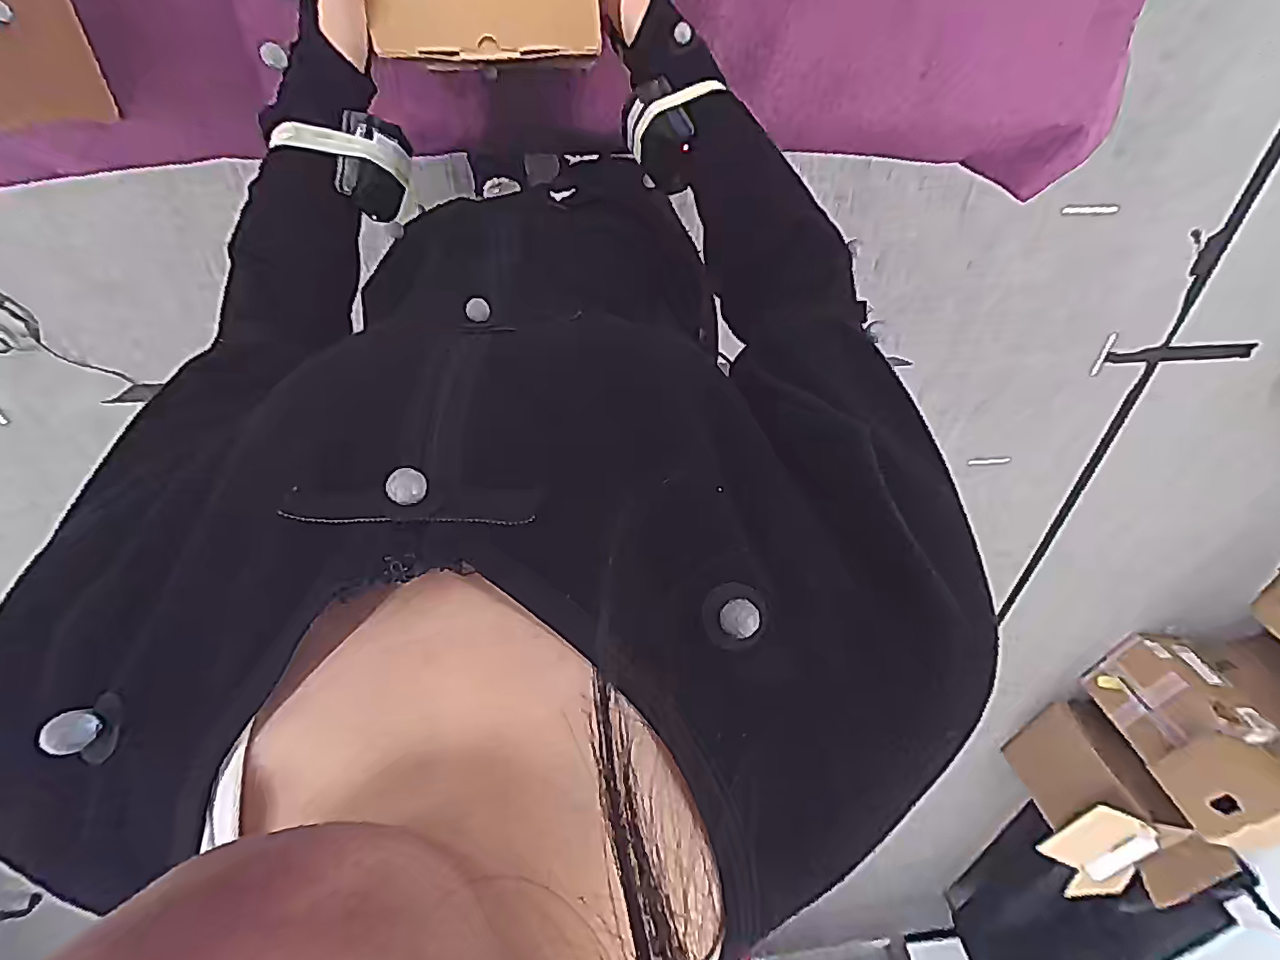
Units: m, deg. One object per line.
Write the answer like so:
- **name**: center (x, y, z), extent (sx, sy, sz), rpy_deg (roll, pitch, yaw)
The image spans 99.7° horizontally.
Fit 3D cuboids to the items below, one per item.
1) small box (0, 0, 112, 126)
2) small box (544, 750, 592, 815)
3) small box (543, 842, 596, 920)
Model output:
- **small box**: center (-0.563, -0.367, 0.396), extent (0.168, 0.176, 0.179), rpy_deg (-3, 127, -7)
- **small box**: center (-0.283, 1.192, 2.136), extent (0.179, 0.176, 0.168), rpy_deg (-4, 125, -4)
- **small box**: center (-0.243, 1.387, 1.874), extent (0.179, 0.176, 0.168), rpy_deg (-1, 126, -7)
